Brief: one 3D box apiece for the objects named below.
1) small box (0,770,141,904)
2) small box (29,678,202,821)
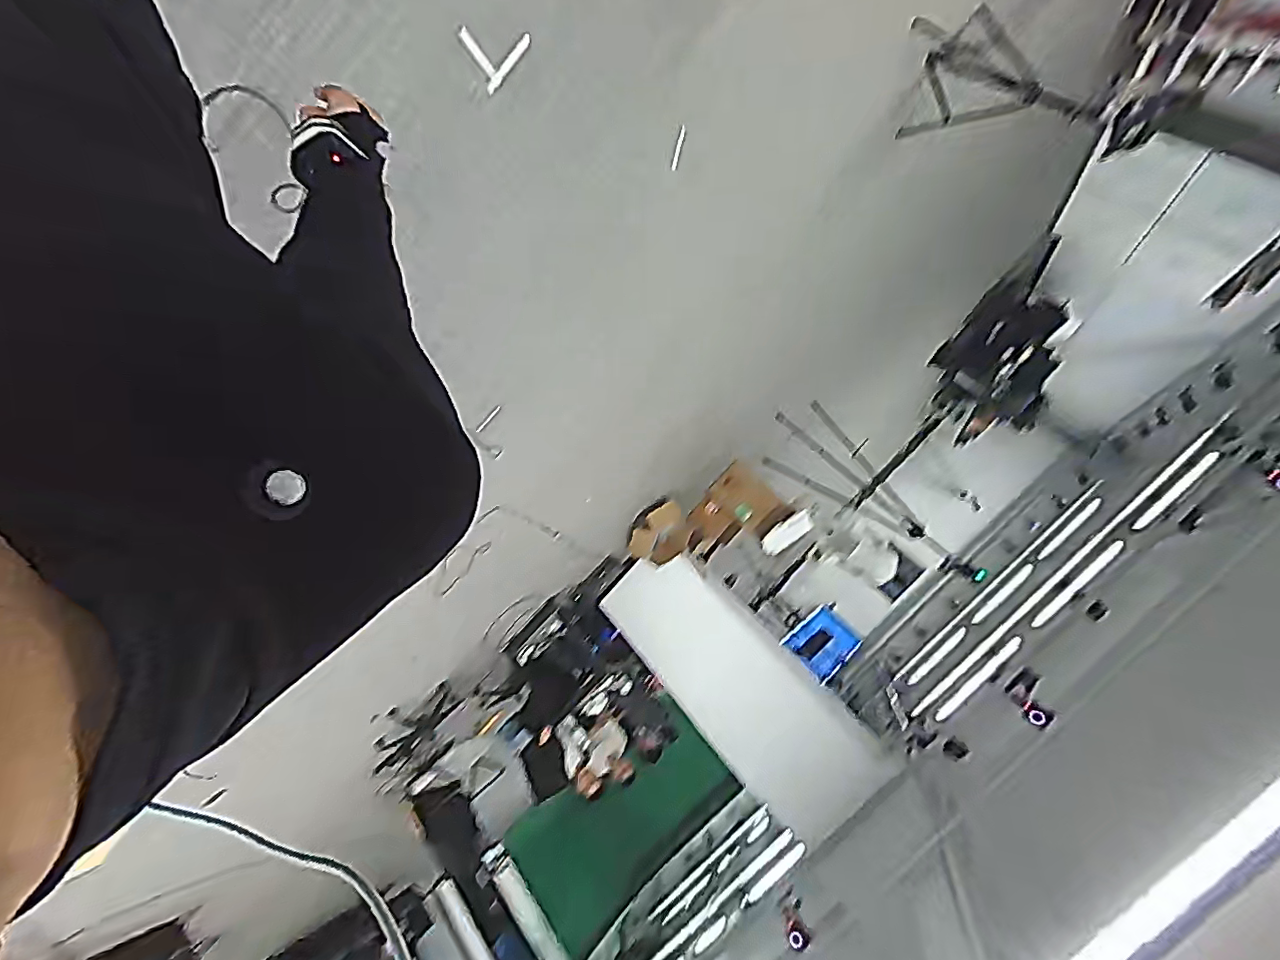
[{"bbox_3d":[-1.177,0.692,1.093,0.168,0.176,0.179,-50,155,8],"label":"small box"},{"bbox_3d":[-1.023,0.509,1.057,0.168,0.176,0.179,-49,156,6],"label":"small box"}]
